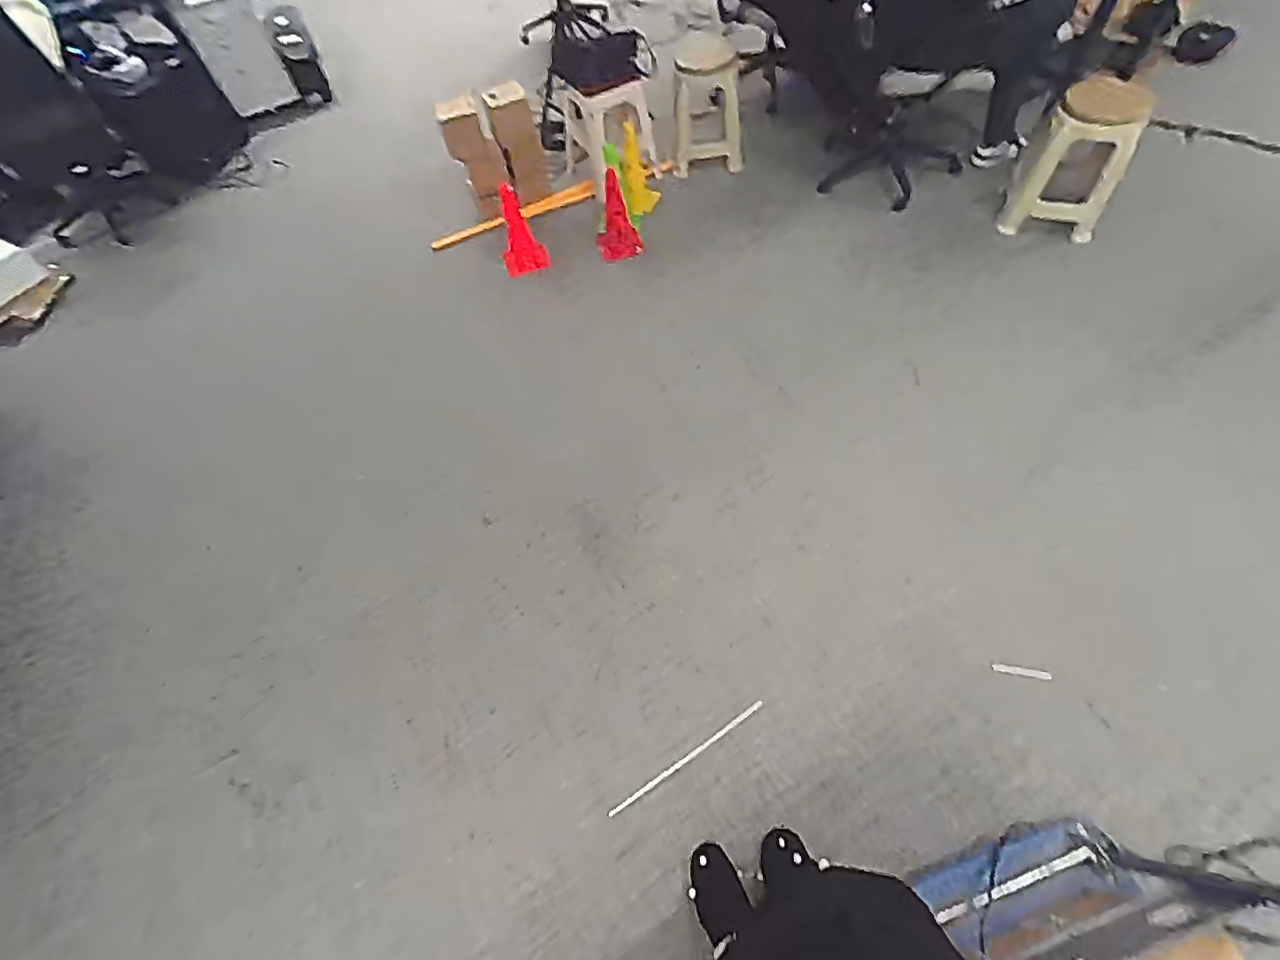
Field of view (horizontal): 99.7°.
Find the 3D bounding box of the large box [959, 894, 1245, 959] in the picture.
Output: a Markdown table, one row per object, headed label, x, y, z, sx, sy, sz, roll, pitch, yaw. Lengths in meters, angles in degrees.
| label | x | y | z | sx | sy | sz | roll | pitch | yaw |
| --- | --- | --- | --- | --- | --- | --- | --- | --- | --- |
| large box | 0.793 | 0.936 | 0.815 | 0.320 | 0.320 | 0.408 | -19 | 59 | -5 |
